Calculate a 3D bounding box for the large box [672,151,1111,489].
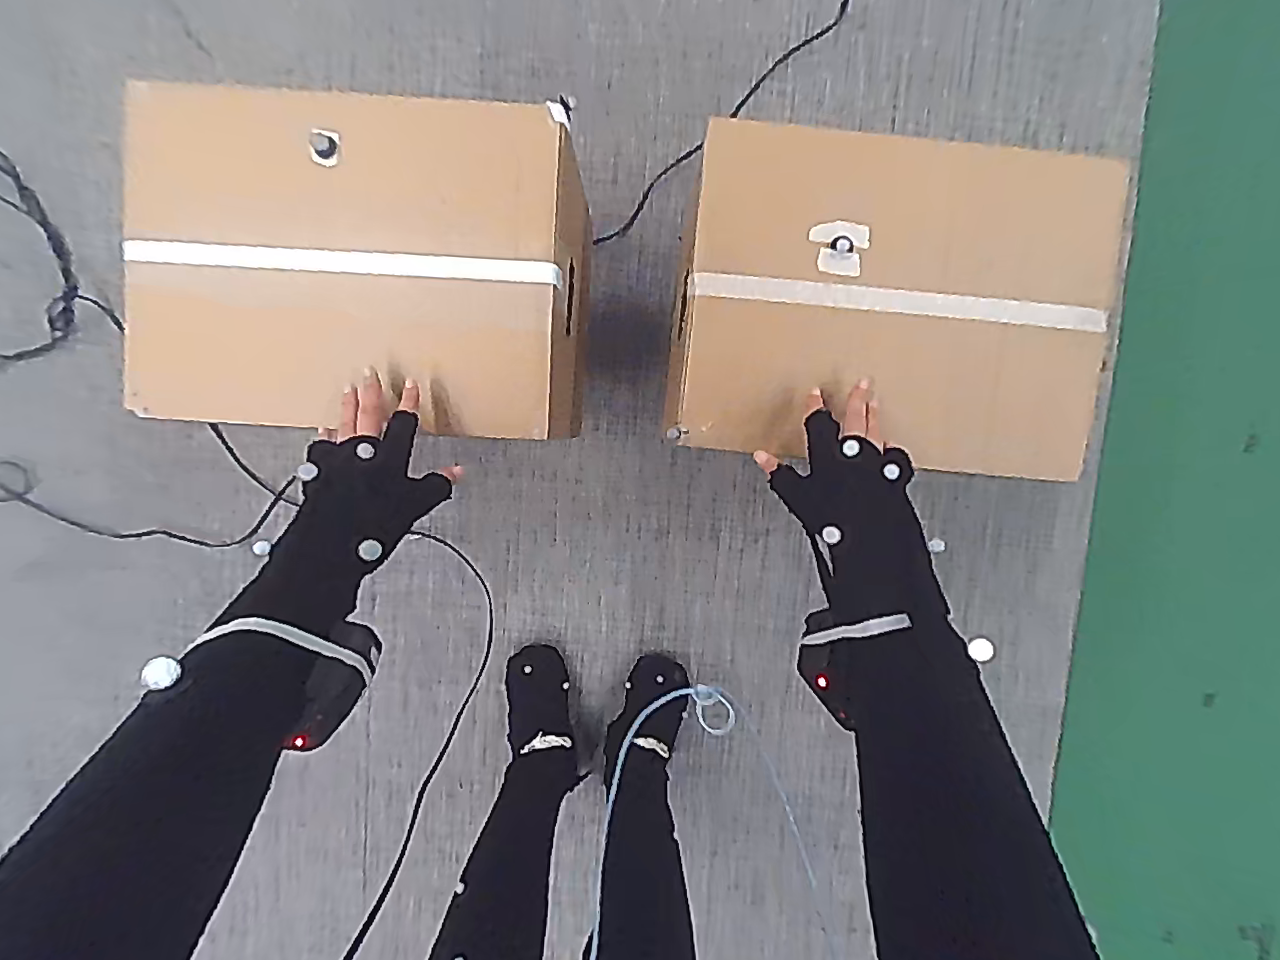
[{"bbox_3d":[0.262,-0.173,0.699,0.408,0.320,0.320,6,94,0],"label":"large box"}]
